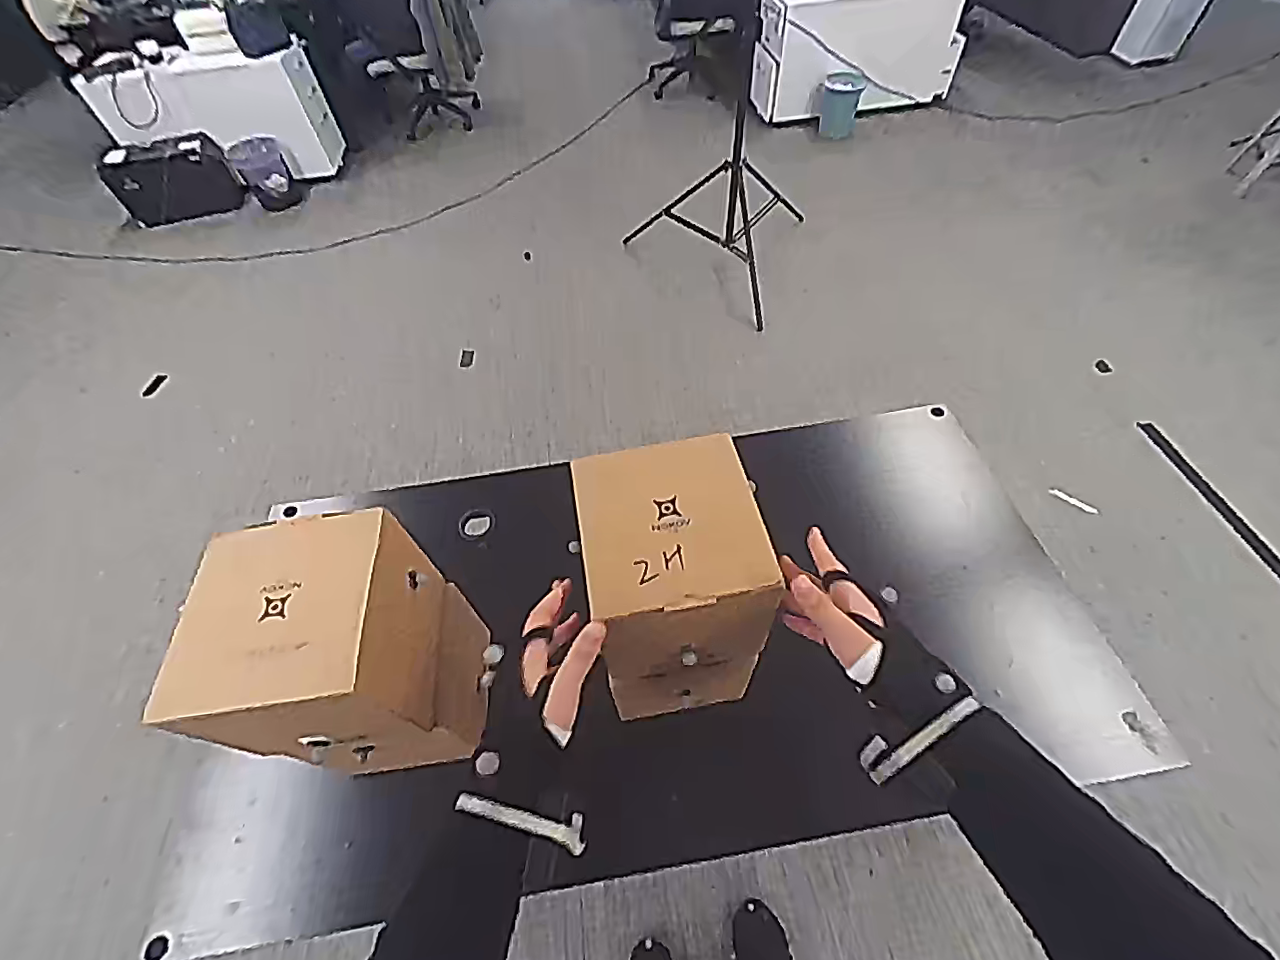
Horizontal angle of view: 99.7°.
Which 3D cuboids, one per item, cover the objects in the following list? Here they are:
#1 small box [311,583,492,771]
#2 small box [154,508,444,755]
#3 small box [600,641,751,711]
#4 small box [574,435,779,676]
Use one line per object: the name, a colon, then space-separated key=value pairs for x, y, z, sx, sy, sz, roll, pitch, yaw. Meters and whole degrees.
small box: x=-0.296 y=0.248 z=0.669 sx=0.179 sy=0.176 sz=0.168 roll=-7 pitch=54 yaw=-3
small box: x=-0.306 y=0.153 z=0.537 sx=0.168 sy=0.176 sz=0.179 roll=-9 pitch=55 yaw=-2
small box: x=0.035 y=0.184 z=0.696 sx=0.168 sy=0.176 sz=0.179 roll=-10 pitch=54 yaw=-3
small box: x=0.029 y=0.081 z=0.566 sx=0.168 sy=0.176 sz=0.179 roll=-10 pitch=53 yaw=-3
